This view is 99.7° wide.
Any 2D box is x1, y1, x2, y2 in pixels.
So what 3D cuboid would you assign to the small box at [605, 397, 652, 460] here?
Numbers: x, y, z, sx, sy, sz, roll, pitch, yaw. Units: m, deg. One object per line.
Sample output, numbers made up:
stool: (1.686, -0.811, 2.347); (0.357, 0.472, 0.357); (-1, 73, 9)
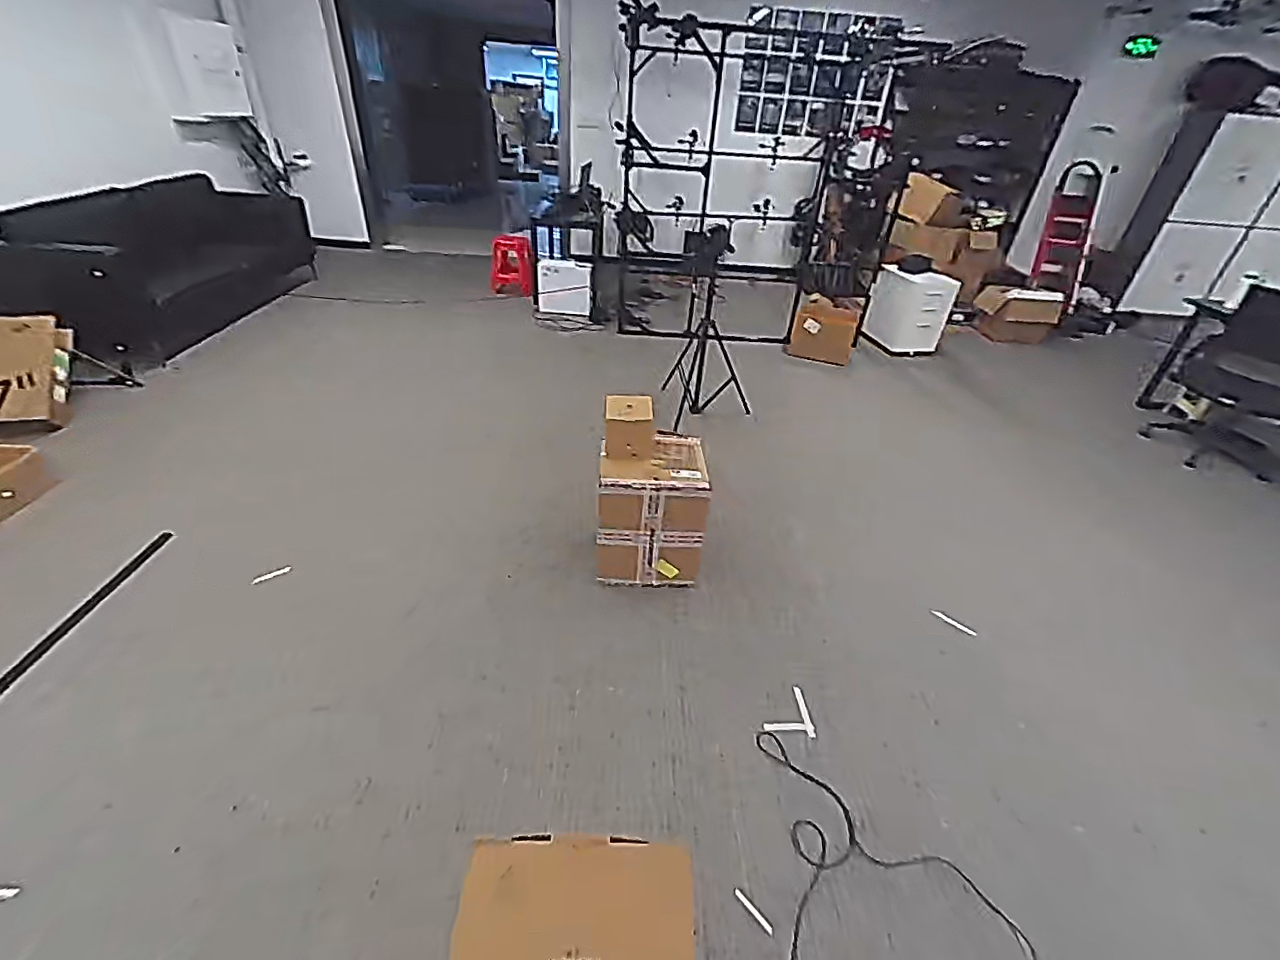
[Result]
small box: (-0.044, -0.192, 1.996); (0.168, 0.176, 0.179); (0, 37, -2)
